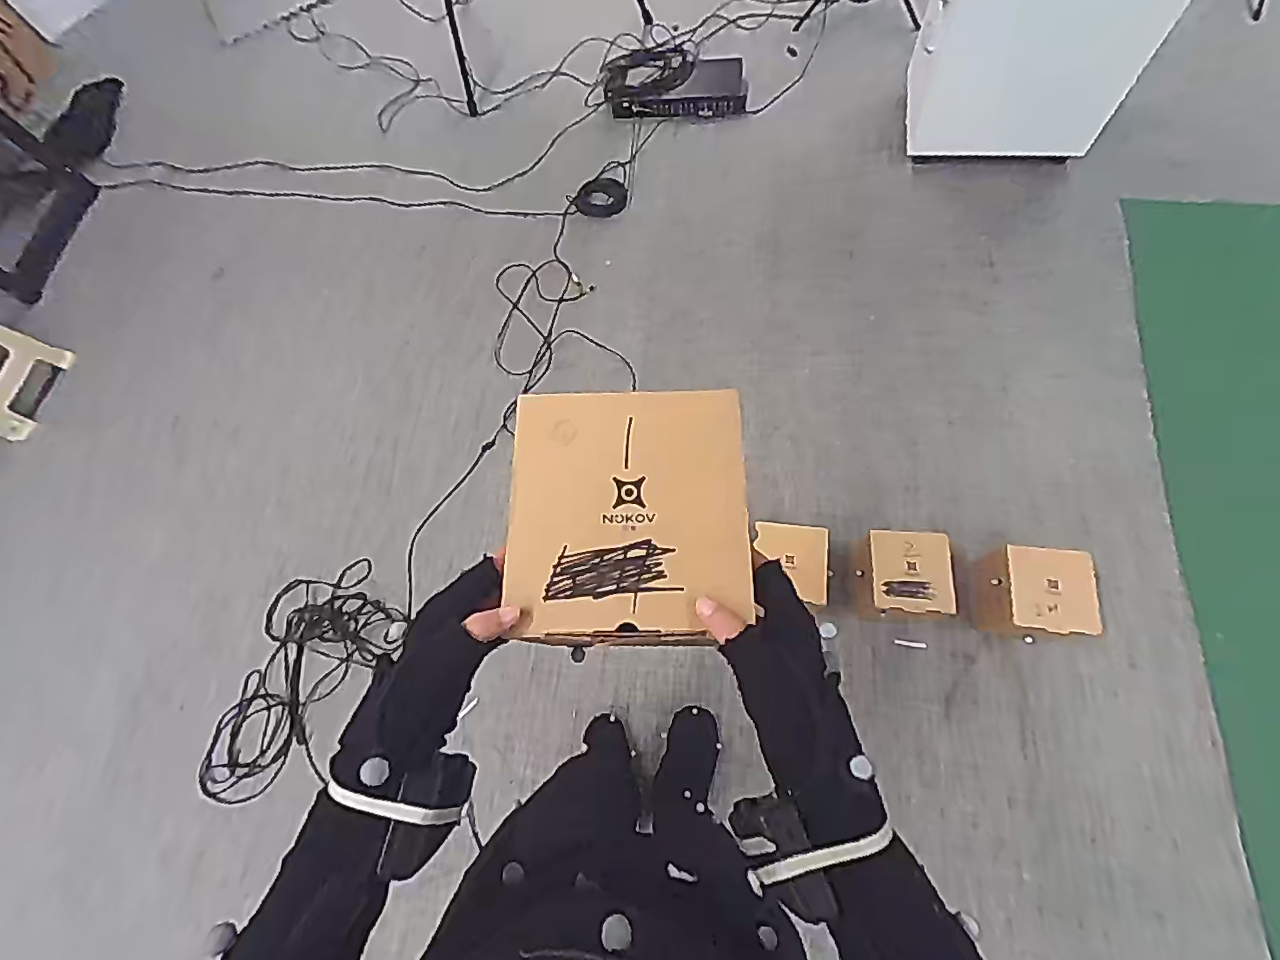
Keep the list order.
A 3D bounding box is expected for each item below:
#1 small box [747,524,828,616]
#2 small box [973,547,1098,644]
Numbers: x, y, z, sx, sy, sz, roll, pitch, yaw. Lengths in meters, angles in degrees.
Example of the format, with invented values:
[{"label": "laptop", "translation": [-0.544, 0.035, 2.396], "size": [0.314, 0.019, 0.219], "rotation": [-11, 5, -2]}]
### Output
[{"label": "small box", "translation": [0.349, 0.219, 1.297], "size": [0.168, 0.176, 0.179], "rotation": [5, 70, 11]}, {"label": "small box", "translation": [0.869, 0.262, 1.209], "size": [0.168, 0.176, 0.179], "rotation": [5, 71, 10]}]
